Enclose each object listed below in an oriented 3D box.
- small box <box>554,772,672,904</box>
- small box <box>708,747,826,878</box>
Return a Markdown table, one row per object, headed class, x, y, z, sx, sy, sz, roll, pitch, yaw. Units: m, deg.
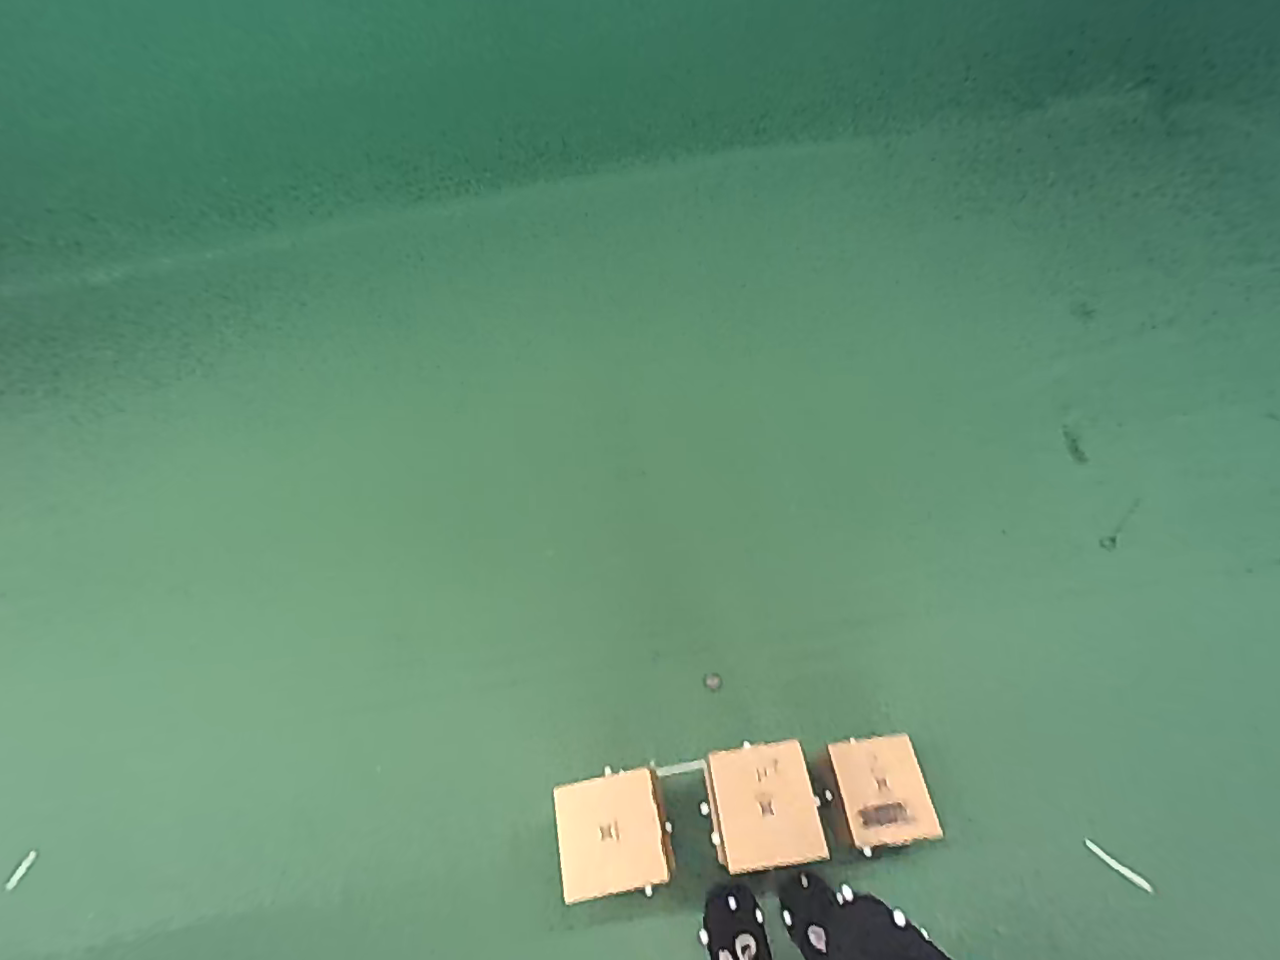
| class | x | y | z | sx | sy | sz | roll | pitch | yaw |
| --- | --- | --- | --- | --- | --- | --- | --- | --- | --- |
| small box | -0.045 | 0.643 | 0.979 | 0.179 | 0.176 | 0.168 | -12 | 58 | -1 |
| small box | 0.218 | 0.595 | 0.977 | 0.168 | 0.176 | 0.179 | -8 | 58 | 0 |
